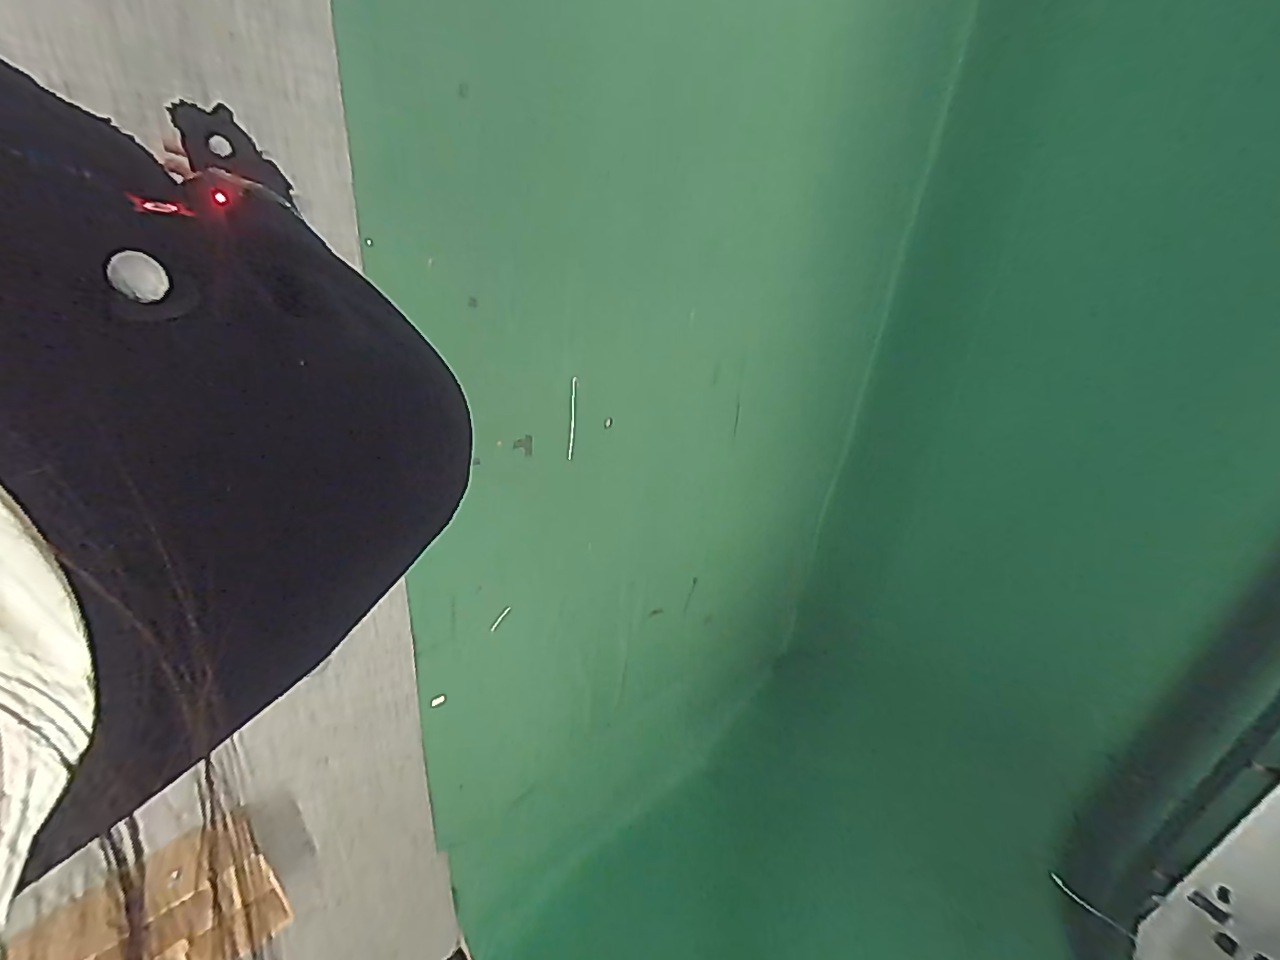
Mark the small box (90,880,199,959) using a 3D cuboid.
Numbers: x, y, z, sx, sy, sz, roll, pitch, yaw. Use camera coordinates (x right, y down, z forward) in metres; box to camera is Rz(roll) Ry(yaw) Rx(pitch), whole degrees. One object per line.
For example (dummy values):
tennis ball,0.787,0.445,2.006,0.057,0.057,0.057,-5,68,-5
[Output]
small box,-1.346,1.252,1.466,0.179,0.176,0.168,-25,131,-41
